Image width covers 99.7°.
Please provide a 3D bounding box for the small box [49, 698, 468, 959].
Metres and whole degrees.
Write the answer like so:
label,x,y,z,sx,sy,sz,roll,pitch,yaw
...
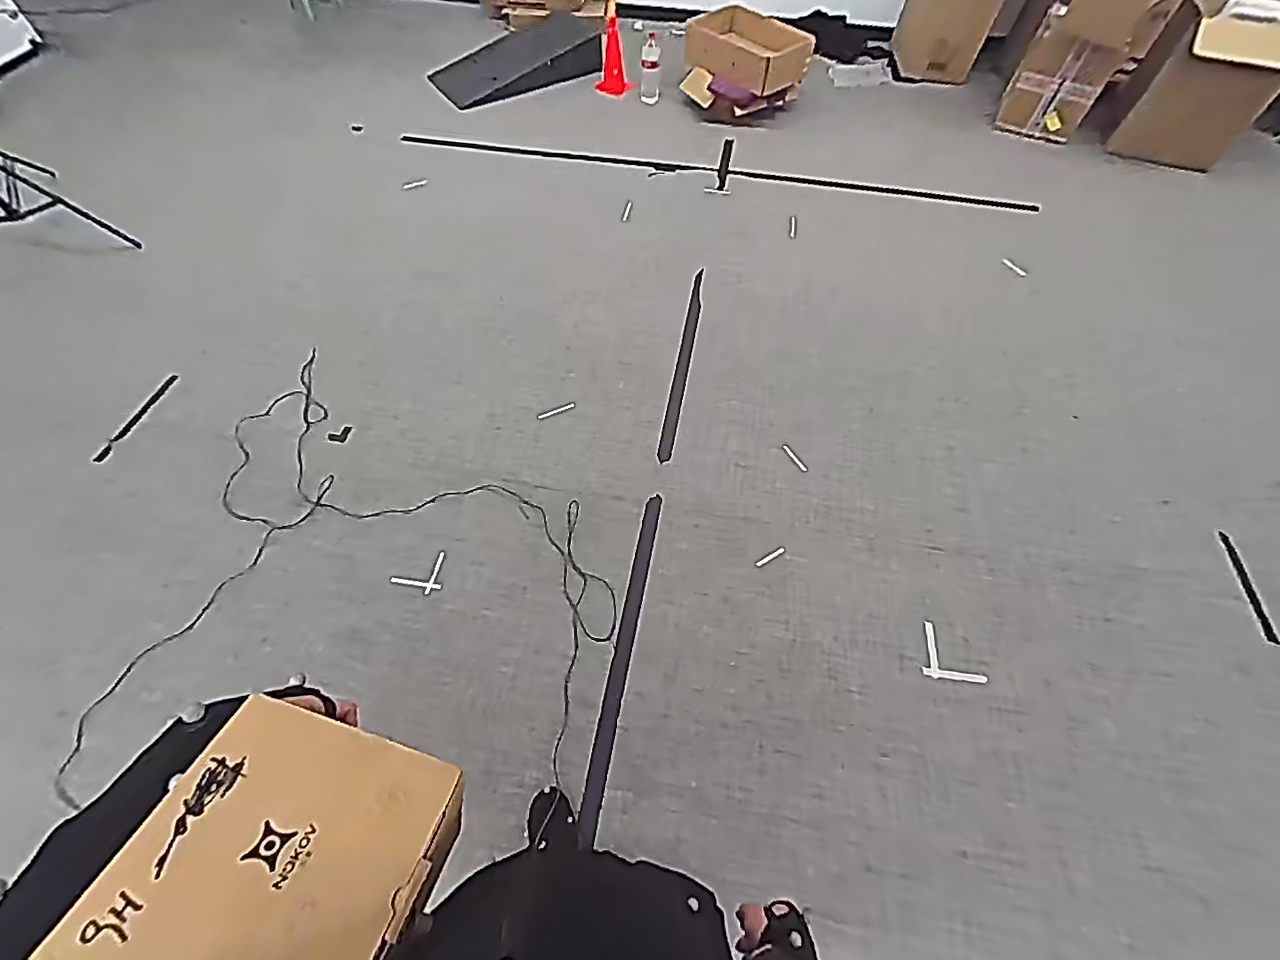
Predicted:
label,x,y,z,sx,sy,sz,roll,pitch,yaw
small box,-0.252,0.304,0.413,0.179,0.176,0.168,20,42,0
